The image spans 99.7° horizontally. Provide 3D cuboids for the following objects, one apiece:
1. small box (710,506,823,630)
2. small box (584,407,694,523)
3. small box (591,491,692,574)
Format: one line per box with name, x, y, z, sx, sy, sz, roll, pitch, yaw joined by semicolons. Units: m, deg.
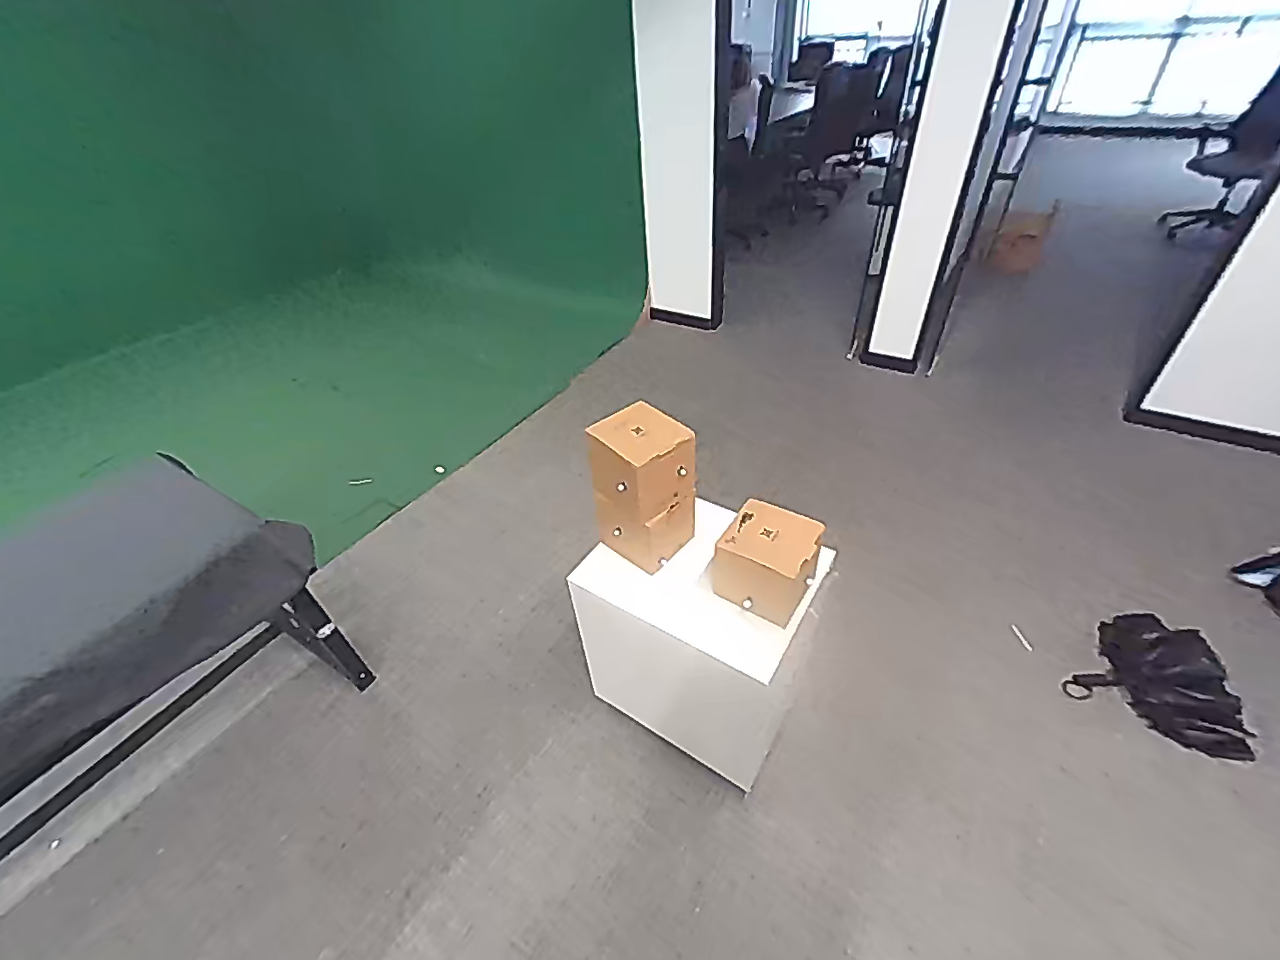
small box;0.264;0.191;1.157;0.179;0.176;0.168;23;47;27
small box;-0.001;-0.029;1.179;0.168;0.176;0.179;-30;47;-31
small box;0.006;0.097;1.280;0.179;0.176;0.168;29;49;32
